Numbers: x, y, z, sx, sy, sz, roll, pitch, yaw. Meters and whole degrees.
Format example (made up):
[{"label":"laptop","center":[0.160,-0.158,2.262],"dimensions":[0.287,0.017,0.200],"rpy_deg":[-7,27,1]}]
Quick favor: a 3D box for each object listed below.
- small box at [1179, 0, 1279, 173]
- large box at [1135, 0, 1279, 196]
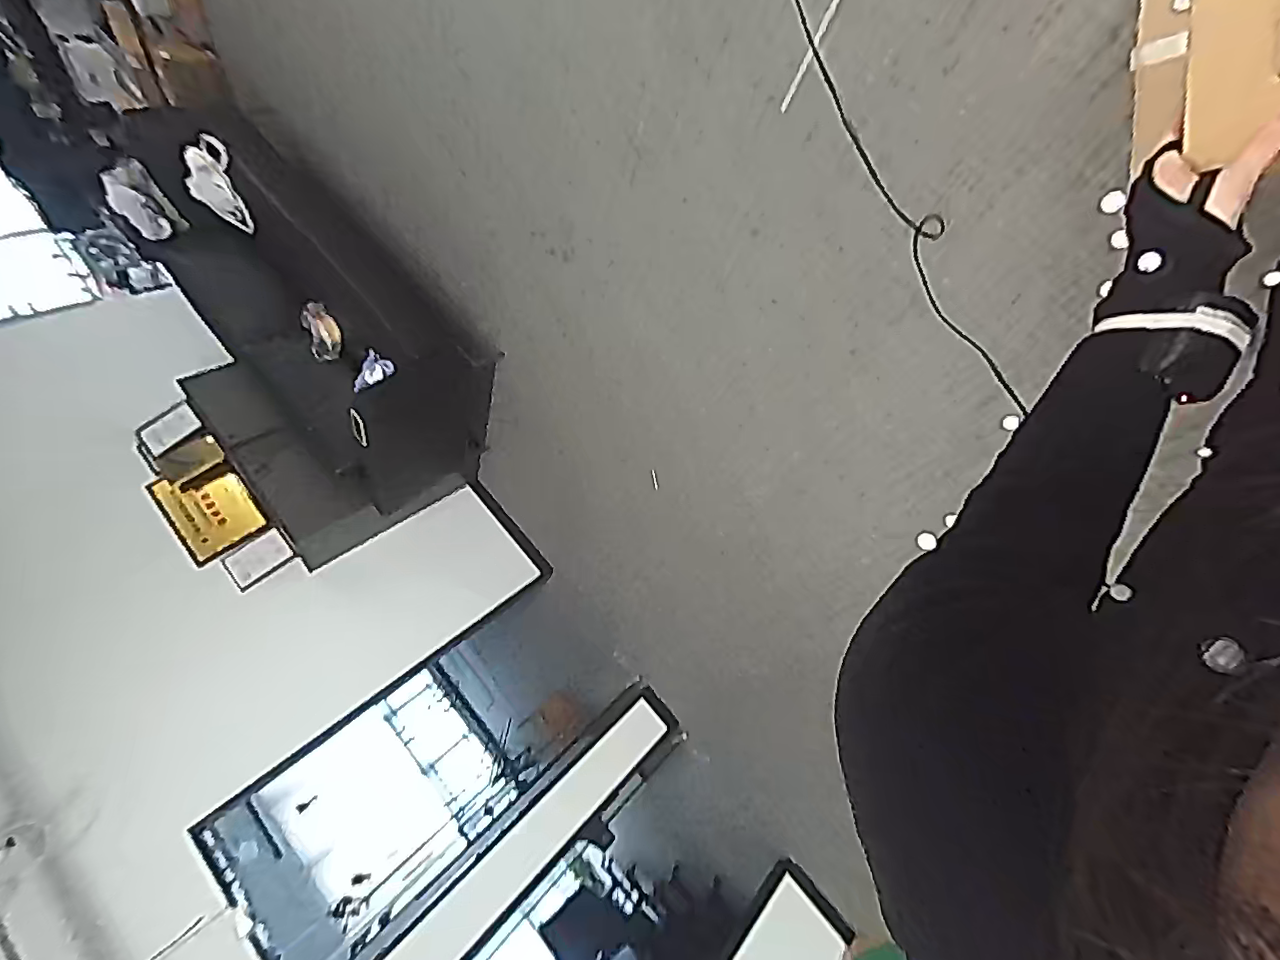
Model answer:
[{"label":"small box","center":[0.484,-0.335,0.347],"dimensions":[0.179,0.176,0.168],"rpy_deg":[8,134,46]},{"label":"large box","center":[0.807,-0.537,0.559],"dimensions":[0.408,0.320,0.320],"rpy_deg":[9,126,47]}]
